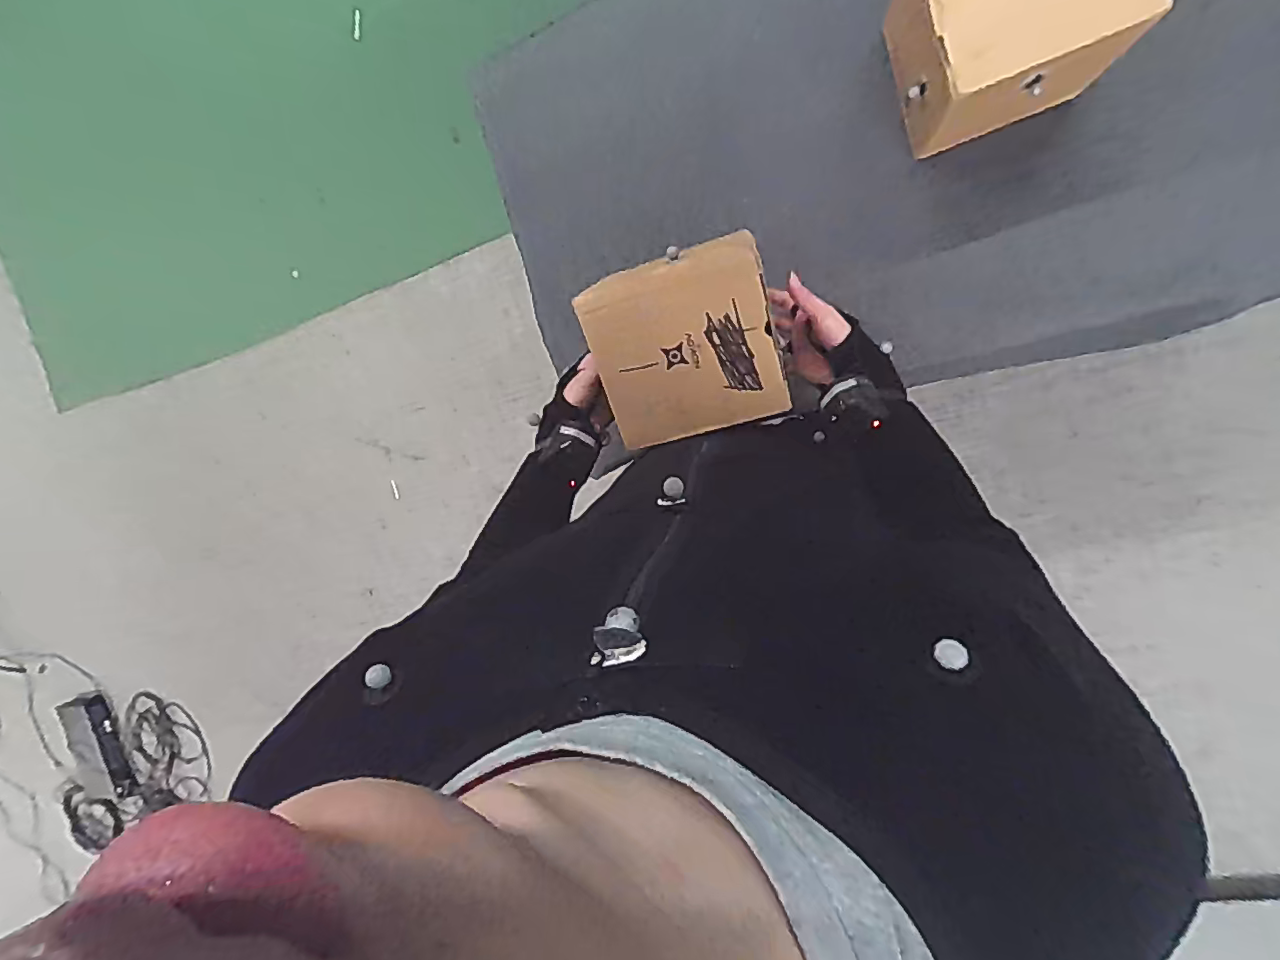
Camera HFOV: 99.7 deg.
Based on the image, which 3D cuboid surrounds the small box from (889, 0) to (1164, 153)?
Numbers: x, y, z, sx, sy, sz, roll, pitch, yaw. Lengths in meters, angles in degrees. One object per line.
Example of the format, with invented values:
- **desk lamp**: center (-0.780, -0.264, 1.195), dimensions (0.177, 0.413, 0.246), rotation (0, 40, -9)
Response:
- **small box**: center (0.374, -0.480, 0.563), dimensions (0.179, 0.176, 0.168), rotation (-16, 98, 16)
